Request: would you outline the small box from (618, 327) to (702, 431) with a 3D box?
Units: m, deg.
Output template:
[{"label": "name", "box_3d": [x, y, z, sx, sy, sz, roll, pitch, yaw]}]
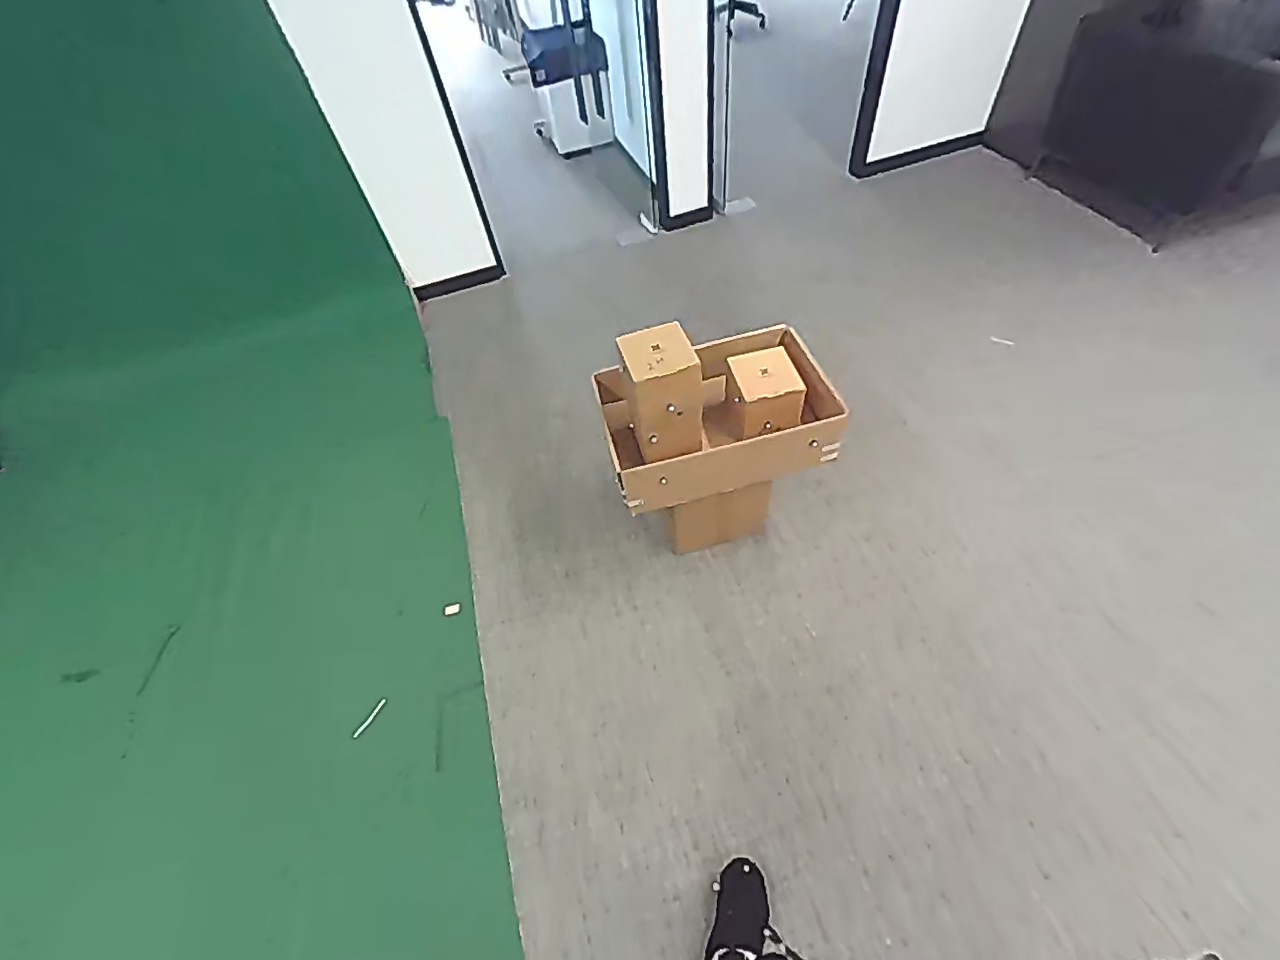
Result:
[{"label": "small box", "box_3d": [0.051, -0.252, 1.363, 0.168, 0.176, 0.179, -16, 53, -5]}]

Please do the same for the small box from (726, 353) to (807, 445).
[{"label": "small box", "box_3d": [0.345, -0.225, 1.516, 0.168, 0.176, 0.179, -12, 53, -3]}]
